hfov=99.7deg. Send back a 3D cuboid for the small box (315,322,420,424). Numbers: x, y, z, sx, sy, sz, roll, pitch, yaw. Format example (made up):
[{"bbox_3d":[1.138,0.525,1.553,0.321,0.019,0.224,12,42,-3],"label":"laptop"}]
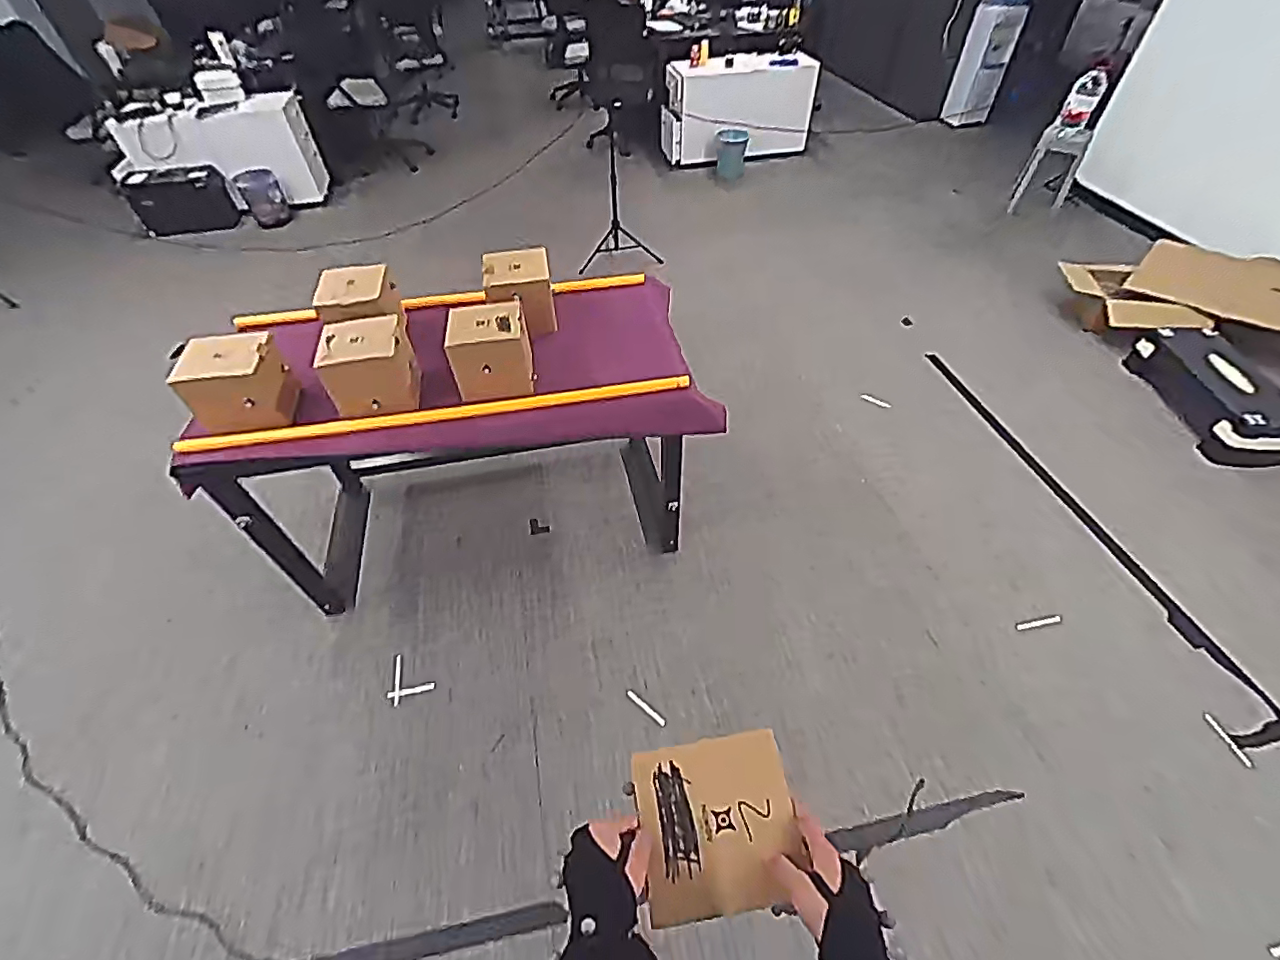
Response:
[{"bbox_3d":[-0.646,-0.257,1.310,0.179,0.176,0.168,-10,49,-7],"label":"small box"}]

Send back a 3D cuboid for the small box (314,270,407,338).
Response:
[{"bbox_3d":[-0.751,-0.445,1.476,0.168,0.176,0.179,-9,51,-6],"label":"small box"}]

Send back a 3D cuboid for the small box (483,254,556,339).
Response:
[{"bbox_3d":[-0.335,-0.511,1.523,0.179,0.176,0.168,-9,50,-6],"label":"small box"}]

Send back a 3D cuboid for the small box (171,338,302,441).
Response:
[{"bbox_3d":[-0.936,-0.213,1.277,0.179,0.176,0.168,-8,49,-9],"label":"small box"}]

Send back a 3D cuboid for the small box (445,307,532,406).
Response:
[{"bbox_3d":[-0.367,-0.306,1.344,0.179,0.176,0.168,-8,48,-4],"label":"small box"}]
